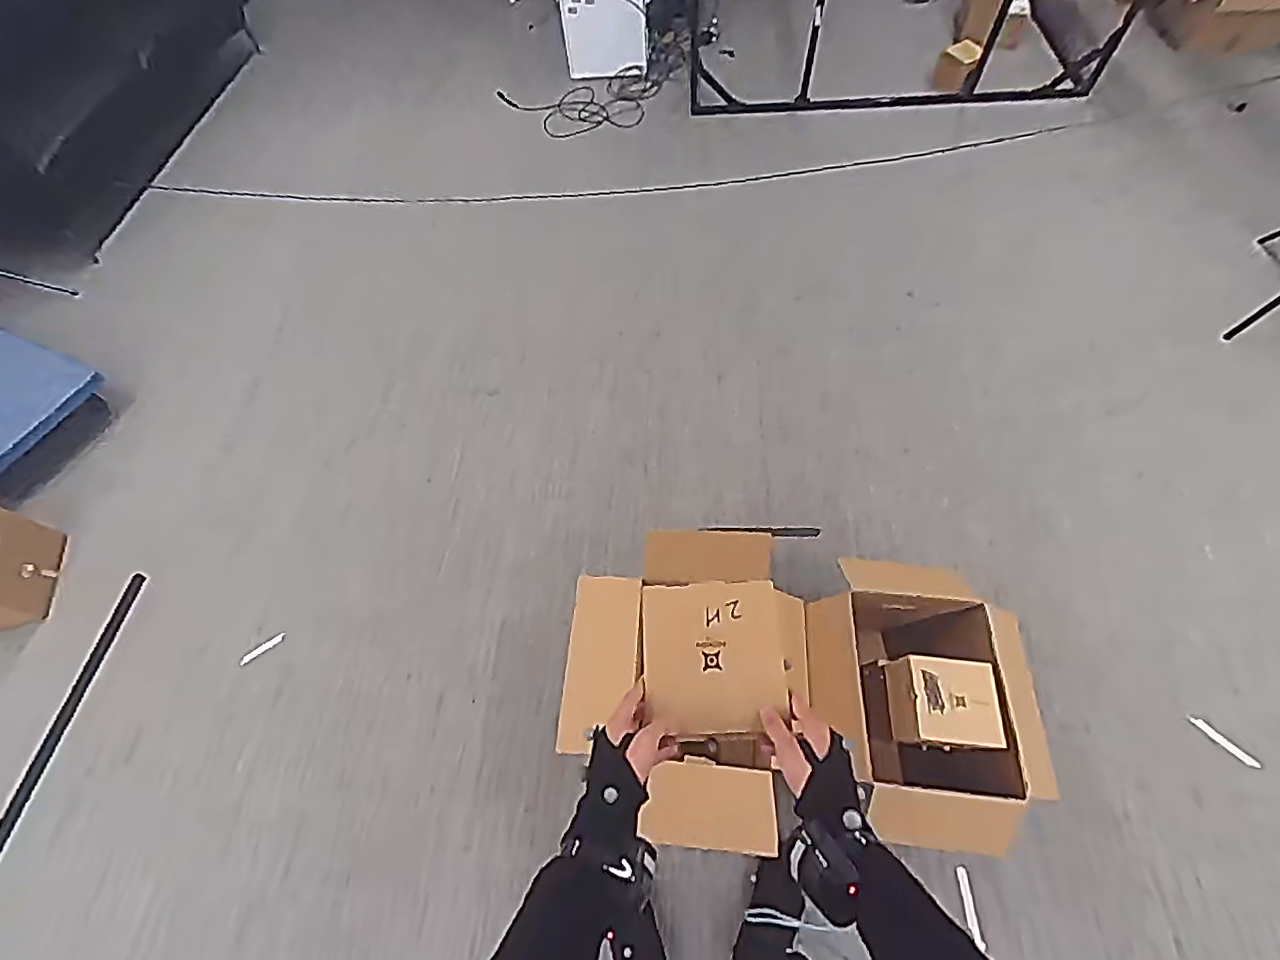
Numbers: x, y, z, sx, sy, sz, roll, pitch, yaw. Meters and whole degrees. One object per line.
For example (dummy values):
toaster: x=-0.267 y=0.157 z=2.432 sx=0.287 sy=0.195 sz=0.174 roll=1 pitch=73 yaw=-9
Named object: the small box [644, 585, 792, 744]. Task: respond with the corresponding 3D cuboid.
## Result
small box: x=0.095 y=0.246 z=0.704 sx=0.168 sy=0.176 sz=0.179 roll=-3 pitch=62 yaw=4
